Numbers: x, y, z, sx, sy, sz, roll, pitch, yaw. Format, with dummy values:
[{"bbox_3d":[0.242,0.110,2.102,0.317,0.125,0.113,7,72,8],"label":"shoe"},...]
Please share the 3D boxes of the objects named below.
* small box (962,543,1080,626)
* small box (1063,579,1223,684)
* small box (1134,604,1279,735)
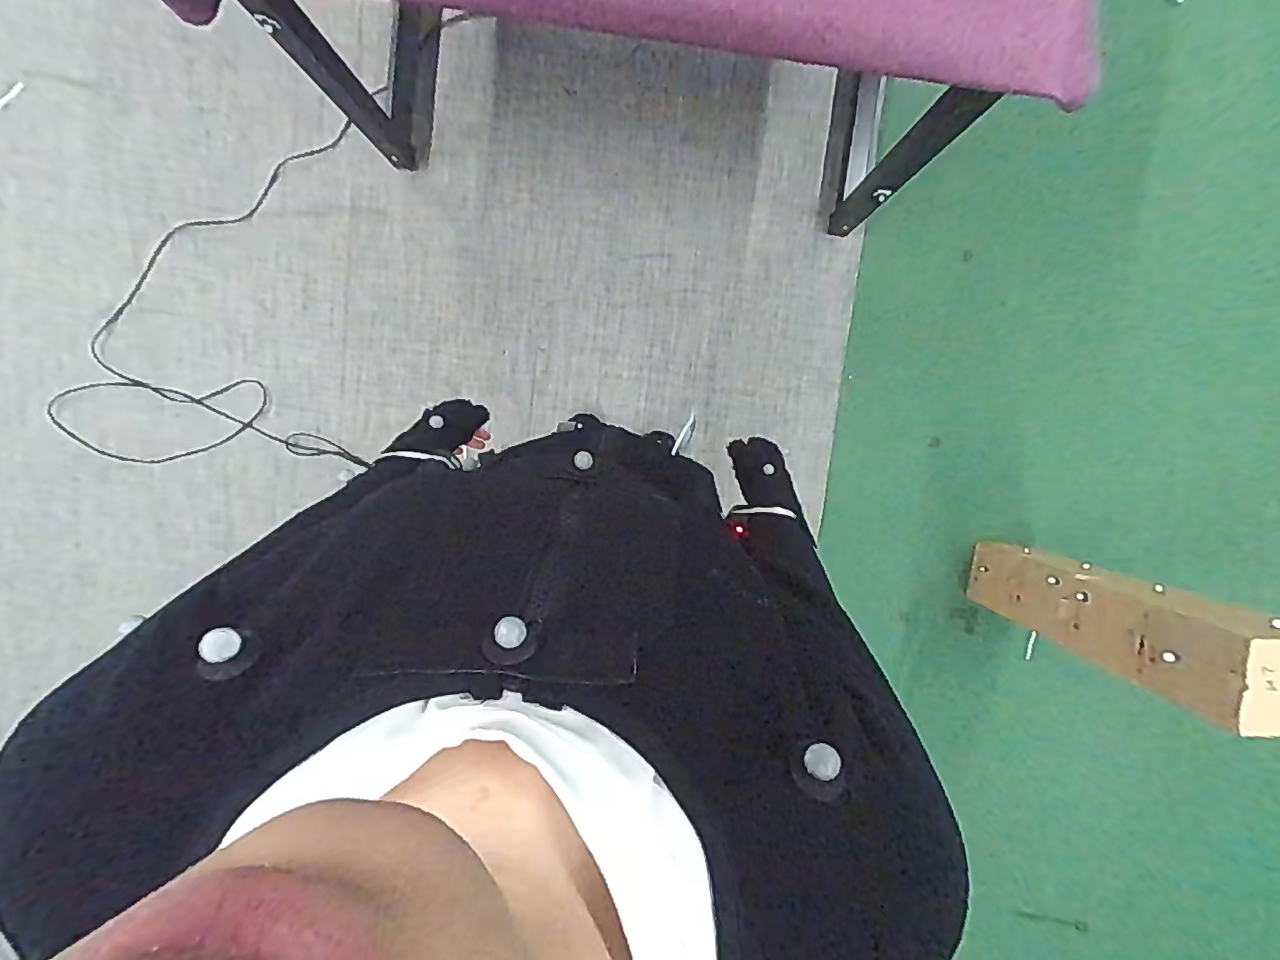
[{"bbox_3d":[1.008,0.273,1.443,0.179,0.176,0.168,8,96,-1],"label":"small box"},{"bbox_3d":[1.026,0.309,1.116,0.179,0.176,0.168,2,97,-2],"label":"small box"},{"bbox_3d":[1.040,0.325,0.953,0.179,0.176,0.168,1,96,-1],"label":"small box"}]
